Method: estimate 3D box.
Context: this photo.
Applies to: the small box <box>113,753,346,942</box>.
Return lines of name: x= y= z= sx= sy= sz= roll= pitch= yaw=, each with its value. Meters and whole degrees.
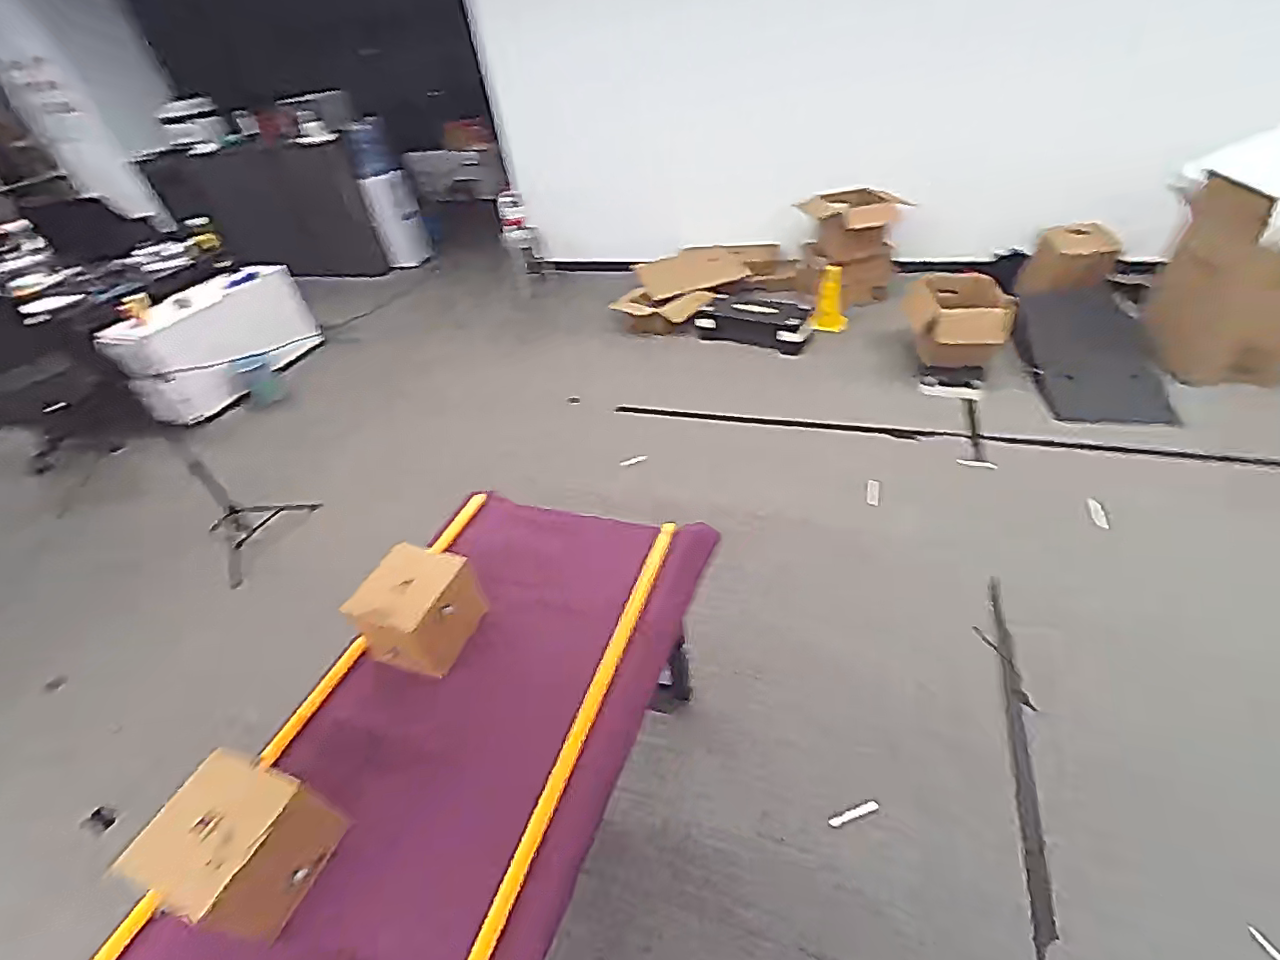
small box: x=-0.586 y=0.540 z=0.796 sx=0.179 sy=0.176 sz=0.168 roll=10 pitch=45 yaw=18

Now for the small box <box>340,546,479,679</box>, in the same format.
small box: x=-0.446 y=0.265 z=1.086 sx=0.168 sy=0.176 sz=0.179 roll=9 pitch=45 yaw=18
